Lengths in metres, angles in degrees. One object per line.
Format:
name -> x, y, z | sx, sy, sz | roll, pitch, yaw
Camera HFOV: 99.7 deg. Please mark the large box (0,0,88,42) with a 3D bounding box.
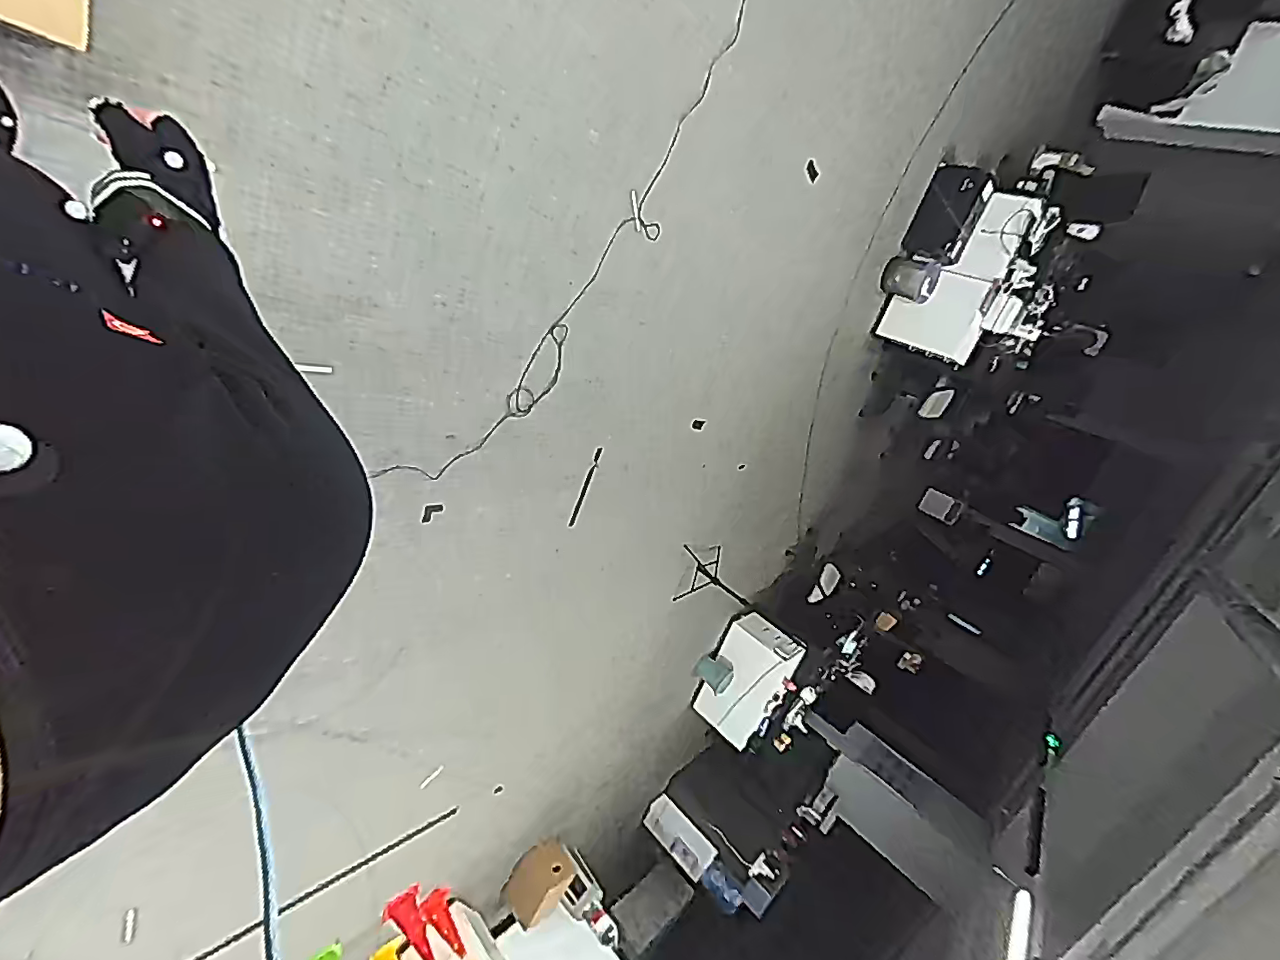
large box -> -0.924, -0.777, 0.601 | 0.408, 0.320, 0.320 | -4, 122, -52
